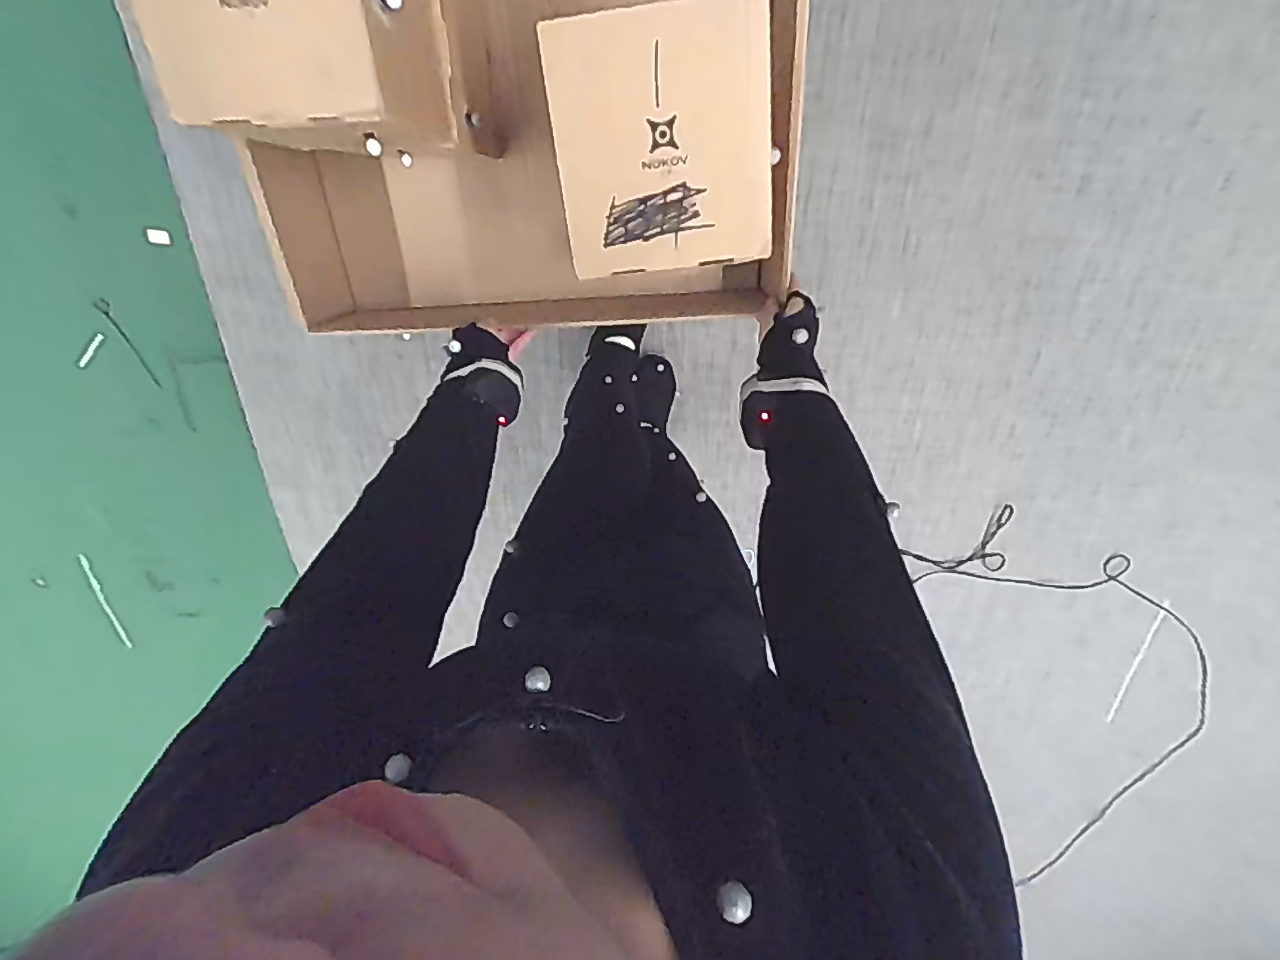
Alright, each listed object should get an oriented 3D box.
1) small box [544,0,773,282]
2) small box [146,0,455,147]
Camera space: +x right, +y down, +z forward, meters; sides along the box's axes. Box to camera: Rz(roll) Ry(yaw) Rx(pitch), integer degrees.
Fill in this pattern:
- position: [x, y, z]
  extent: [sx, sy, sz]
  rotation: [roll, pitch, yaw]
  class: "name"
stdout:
- position: [0.024, -0.288, 0.488]
  extent: [0.168, 0.176, 0.179]
  rotation: [-4, 116, 5]
  class: "small box"
- position: [-0.270, -0.387, 0.454]
  extent: [0.168, 0.176, 0.179]
  rotation: [0, 116, 1]
  class: "small box"
